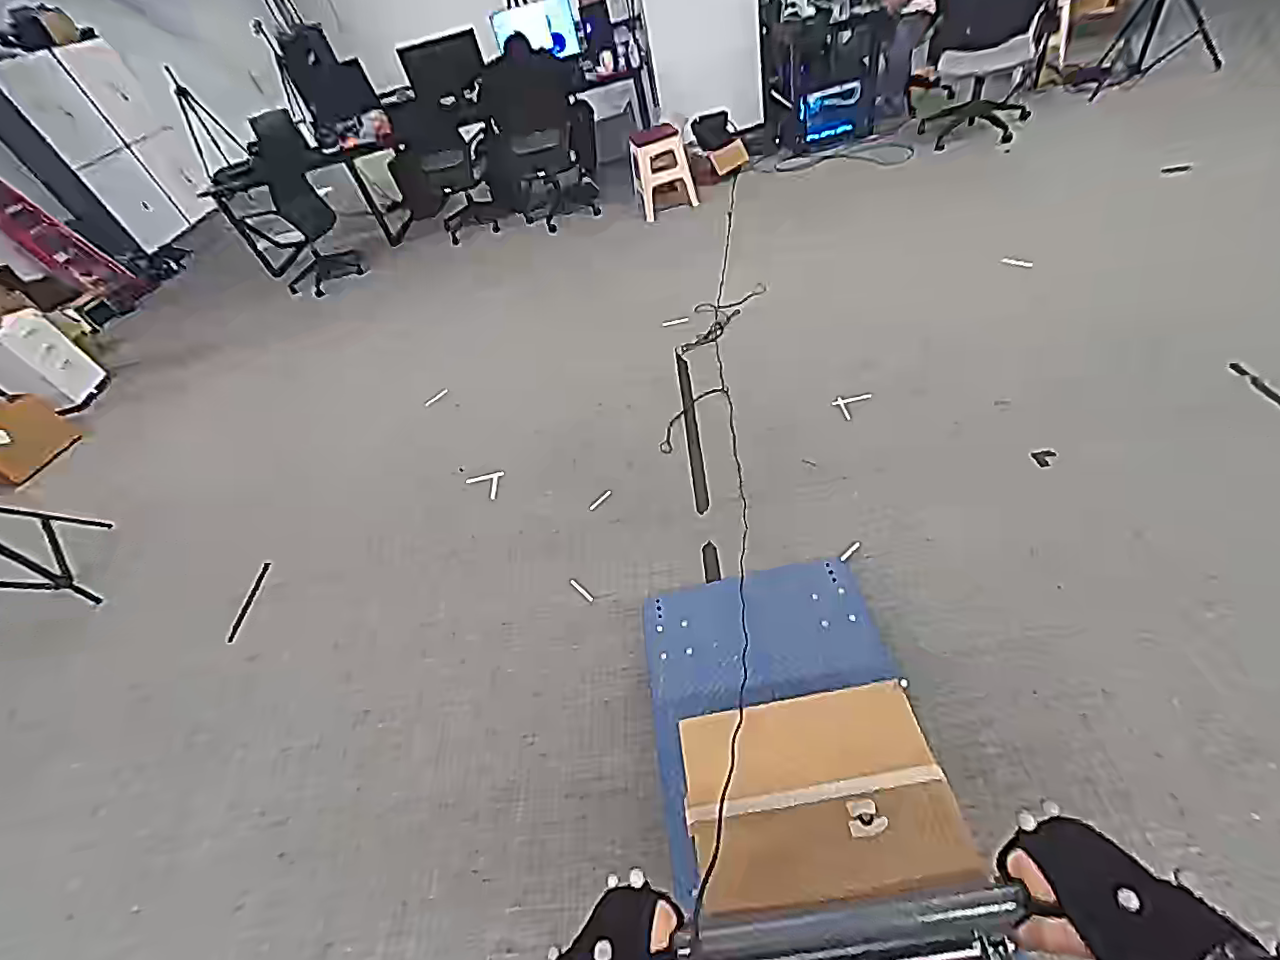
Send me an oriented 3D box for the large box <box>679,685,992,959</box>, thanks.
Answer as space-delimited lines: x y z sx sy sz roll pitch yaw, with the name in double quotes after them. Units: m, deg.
0.309 0.617 0.962 0.408 0.320 0.320 -13 44 5 "large box"
